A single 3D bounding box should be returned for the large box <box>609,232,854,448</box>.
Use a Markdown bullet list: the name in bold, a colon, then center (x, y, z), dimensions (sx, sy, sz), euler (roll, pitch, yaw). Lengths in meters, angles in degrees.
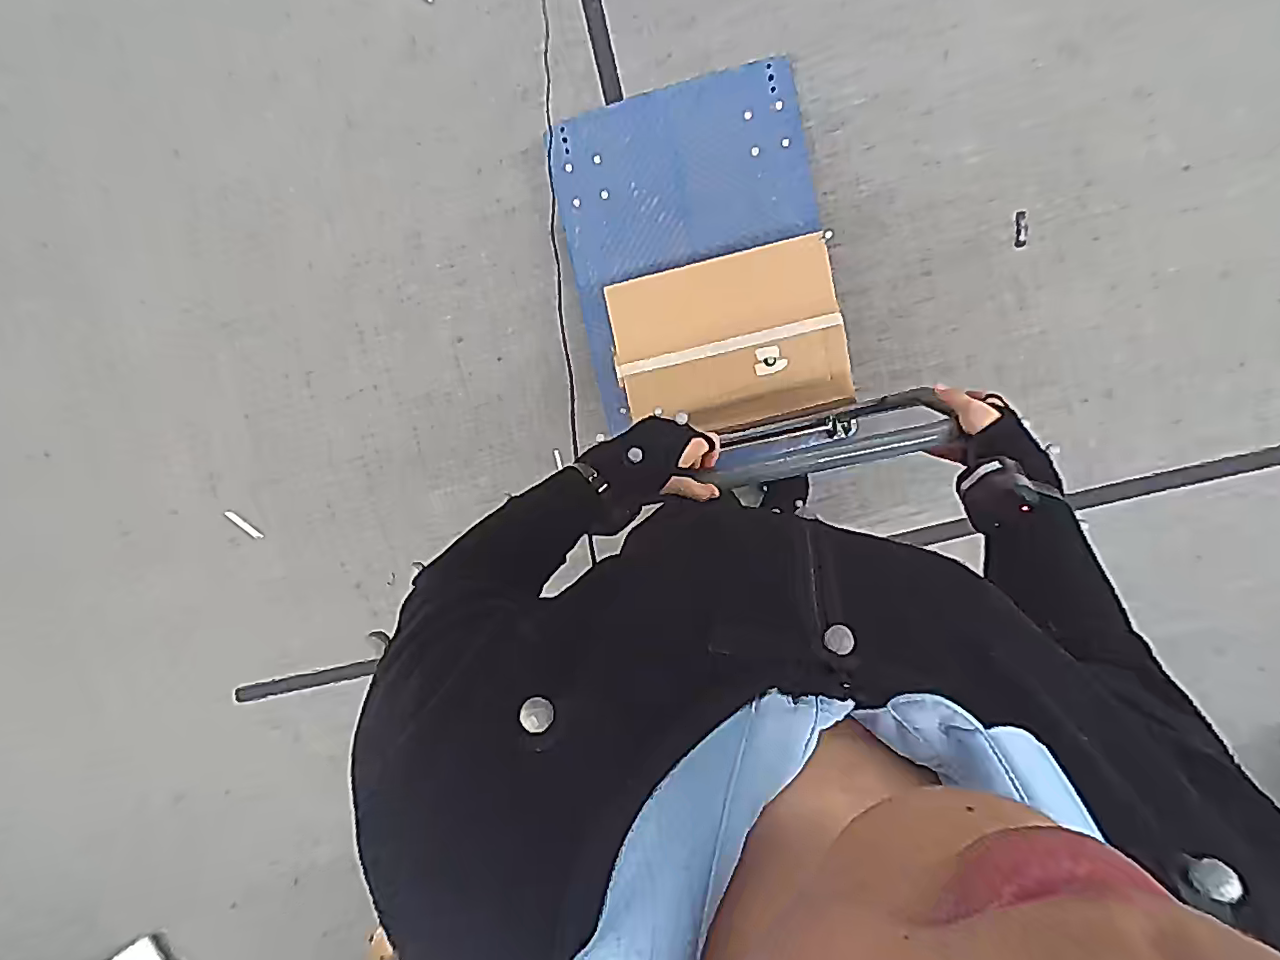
- **large box**: center (0.179, -0.263, 1.140), dimensions (0.408, 0.320, 0.320), euler (-12, 95, 7)
